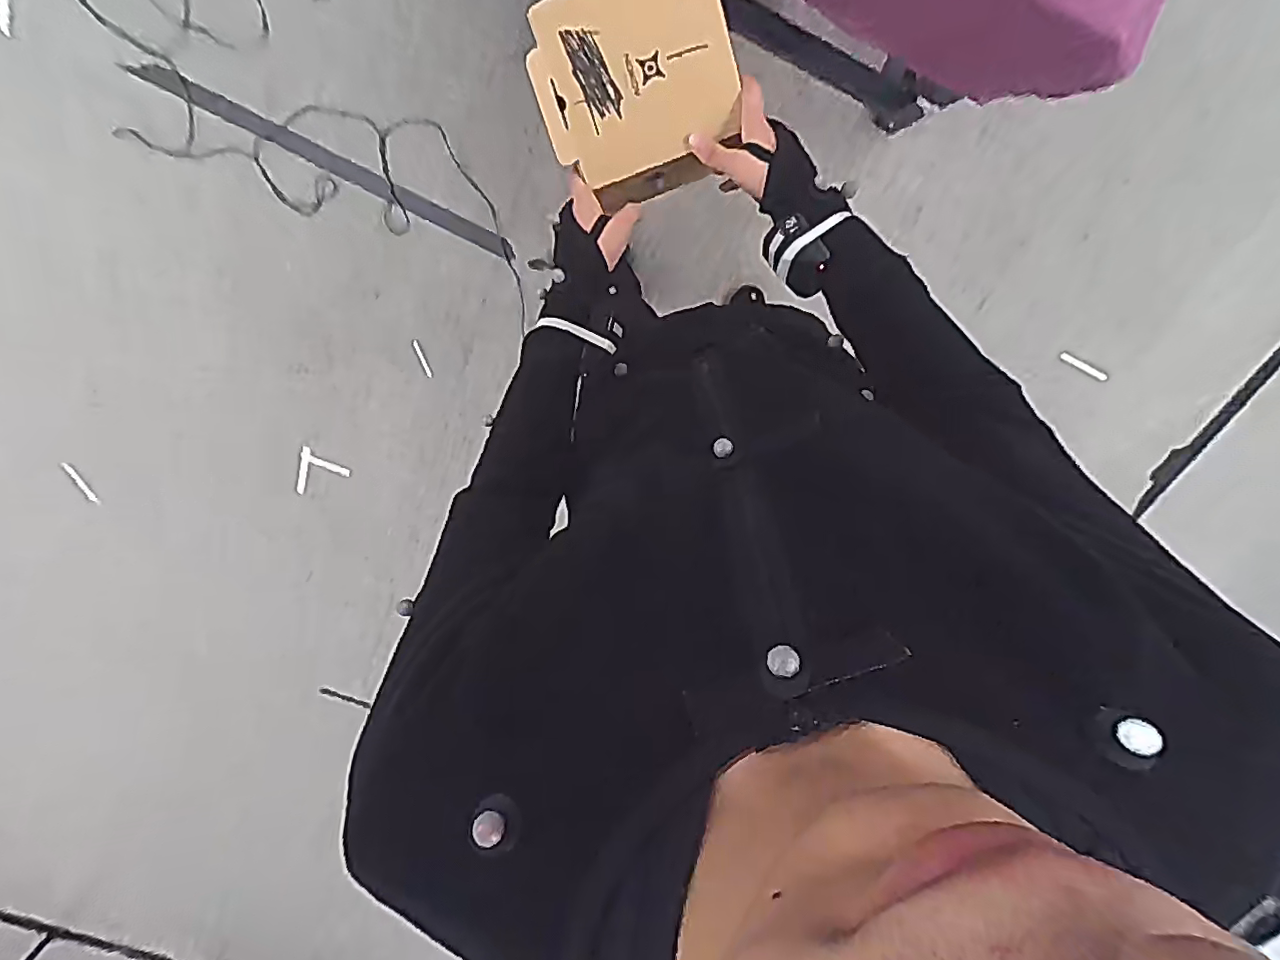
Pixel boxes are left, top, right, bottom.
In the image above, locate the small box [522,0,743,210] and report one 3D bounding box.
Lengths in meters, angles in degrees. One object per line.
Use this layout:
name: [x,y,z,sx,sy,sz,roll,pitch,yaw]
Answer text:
small box: [-0.003,-0.418,0.592,0.179,0.176,0.168,-18,107,6]
